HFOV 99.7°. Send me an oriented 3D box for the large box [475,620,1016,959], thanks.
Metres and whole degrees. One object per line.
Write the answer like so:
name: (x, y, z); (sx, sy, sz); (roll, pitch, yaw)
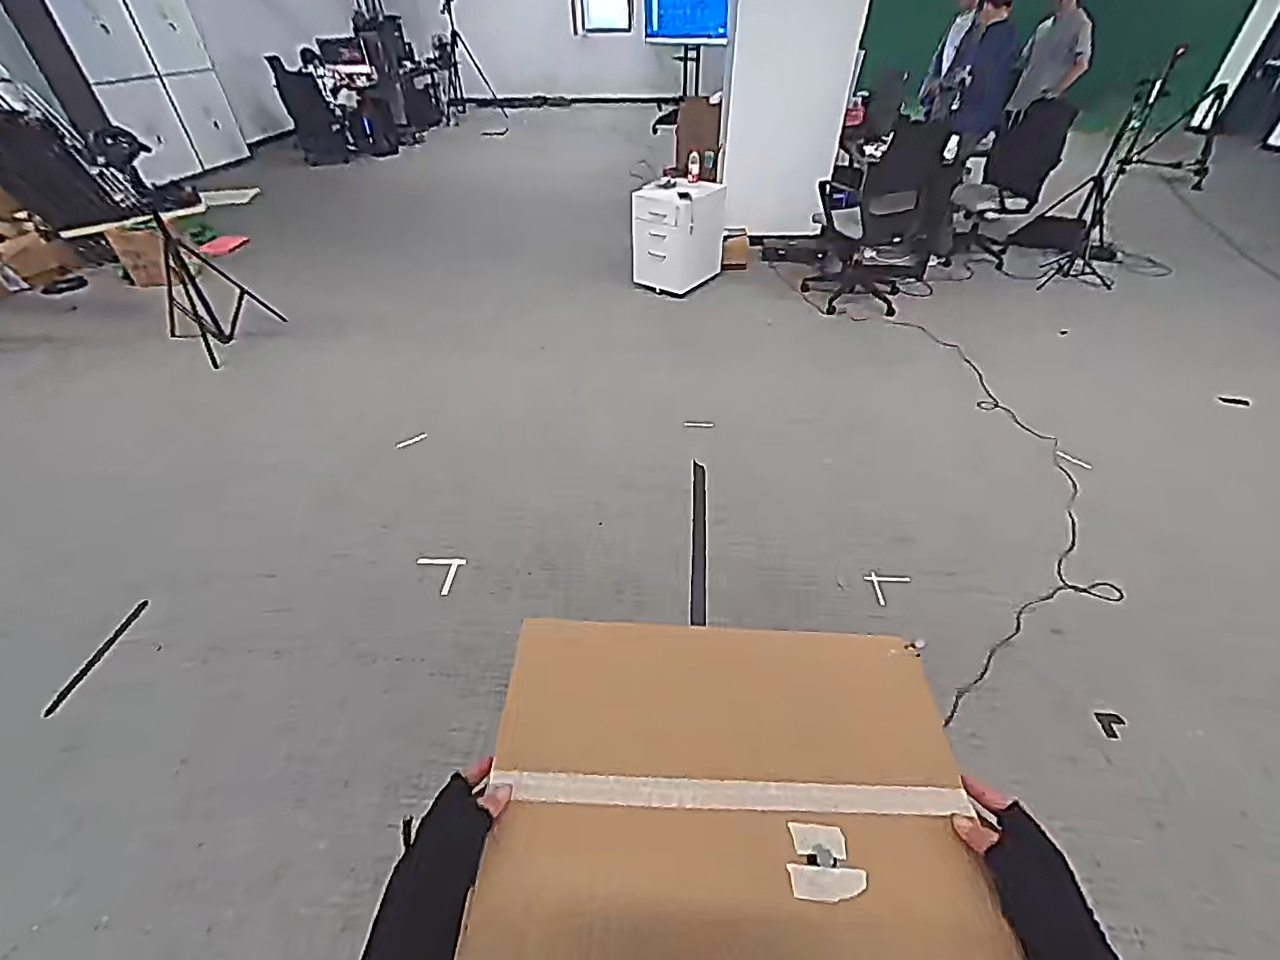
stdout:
large box: (0.073, 0.370, 0.577); (0.408, 0.320, 0.320); (3, 46, -1)
